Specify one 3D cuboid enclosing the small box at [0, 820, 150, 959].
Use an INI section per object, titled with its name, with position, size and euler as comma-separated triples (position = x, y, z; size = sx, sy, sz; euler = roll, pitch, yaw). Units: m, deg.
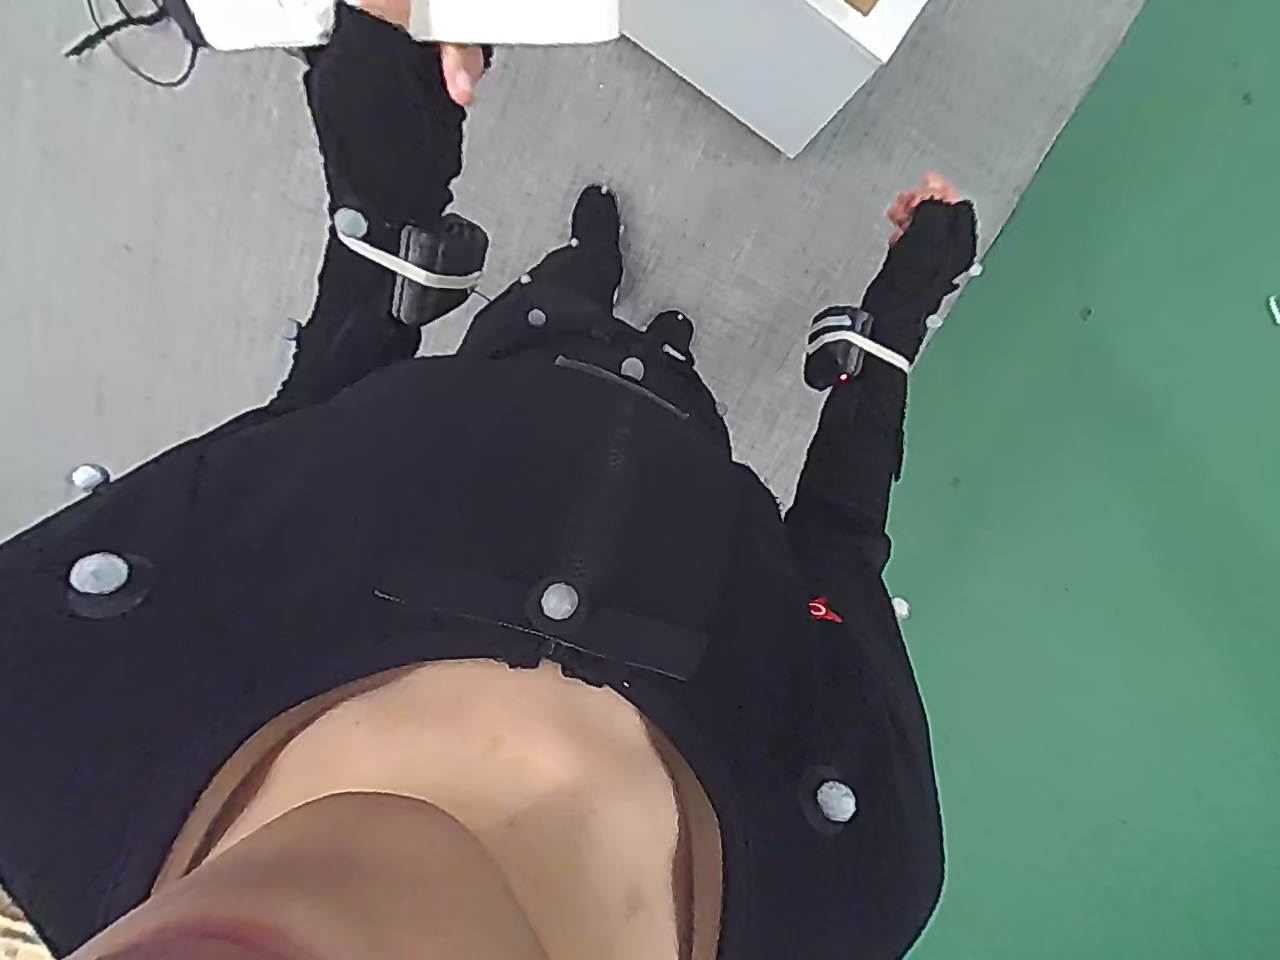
[small box]
position = -1.028, 0.751, 0.960
size = 0.168, 0.176, 0.179
euler = 23, 109, -5
